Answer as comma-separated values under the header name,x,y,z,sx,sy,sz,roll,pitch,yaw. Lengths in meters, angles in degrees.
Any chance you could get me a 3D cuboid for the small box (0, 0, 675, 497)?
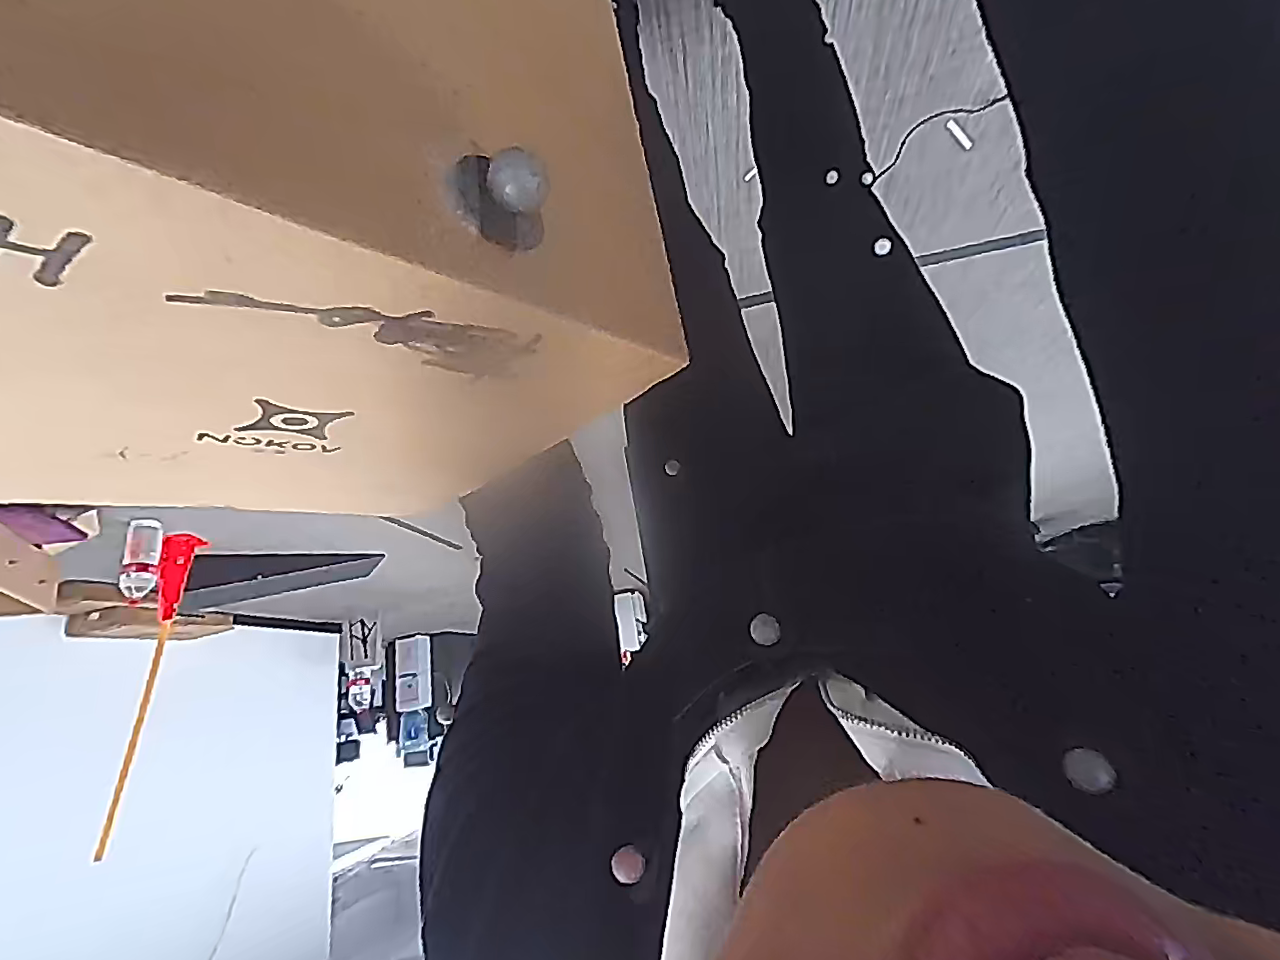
name,x,y,z,sx,sy,sz,roll,pitch,yaw
small box,-0.115,-0.099,0.176,0.179,0.176,0.168,-21,163,39
